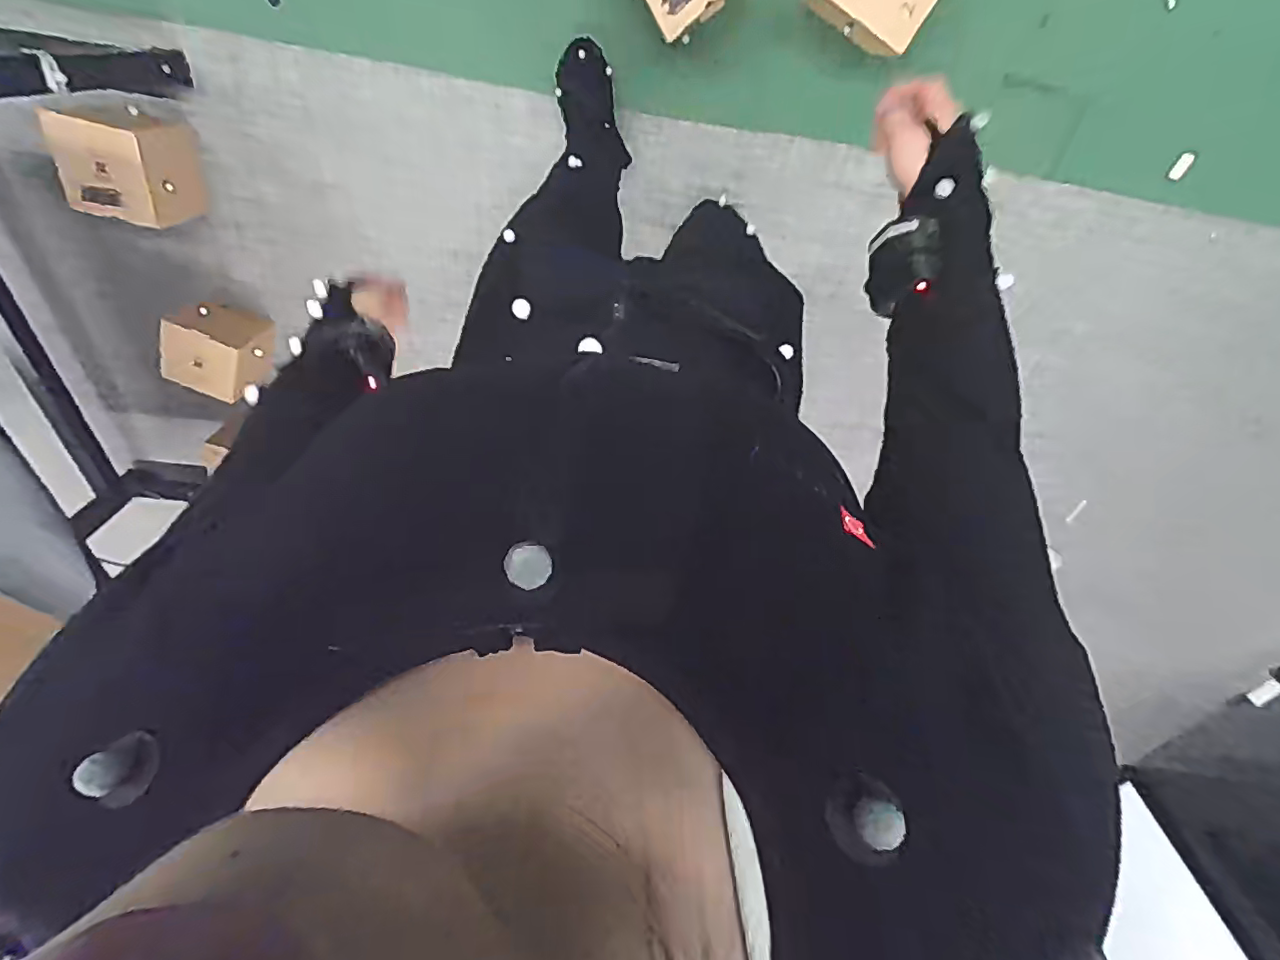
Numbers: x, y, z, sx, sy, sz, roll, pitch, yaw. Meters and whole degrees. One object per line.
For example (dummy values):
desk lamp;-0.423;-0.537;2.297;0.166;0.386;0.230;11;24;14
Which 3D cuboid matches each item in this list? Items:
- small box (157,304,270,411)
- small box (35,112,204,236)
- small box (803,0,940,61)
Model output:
small box;-1.067;-0.312;1.362;0.168;0.176;0.179;24;126;-17
small box;-1.045;-0.630;1.110;0.168;0.176;0.179;11;126;-9
small box;0.410;-0.857;0.928;0.179;0.176;0.168;22;126;-17
